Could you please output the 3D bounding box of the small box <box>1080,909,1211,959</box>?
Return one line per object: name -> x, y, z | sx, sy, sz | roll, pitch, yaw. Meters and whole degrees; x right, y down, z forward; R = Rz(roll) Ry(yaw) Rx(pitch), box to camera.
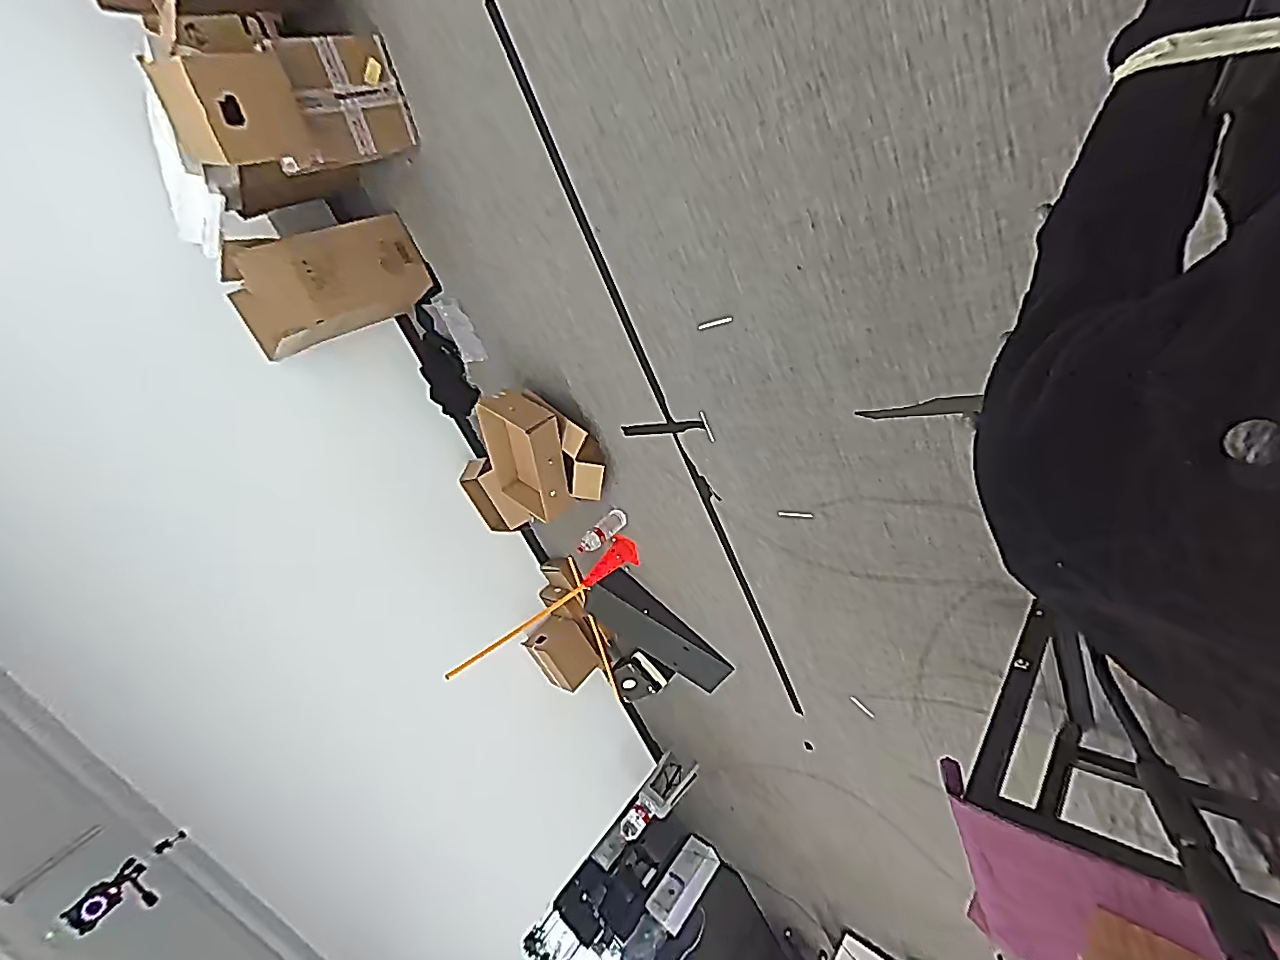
small box -> 0.968, 0.979, 1.038 | 0.179, 0.176, 0.168 | 3, 125, 48
